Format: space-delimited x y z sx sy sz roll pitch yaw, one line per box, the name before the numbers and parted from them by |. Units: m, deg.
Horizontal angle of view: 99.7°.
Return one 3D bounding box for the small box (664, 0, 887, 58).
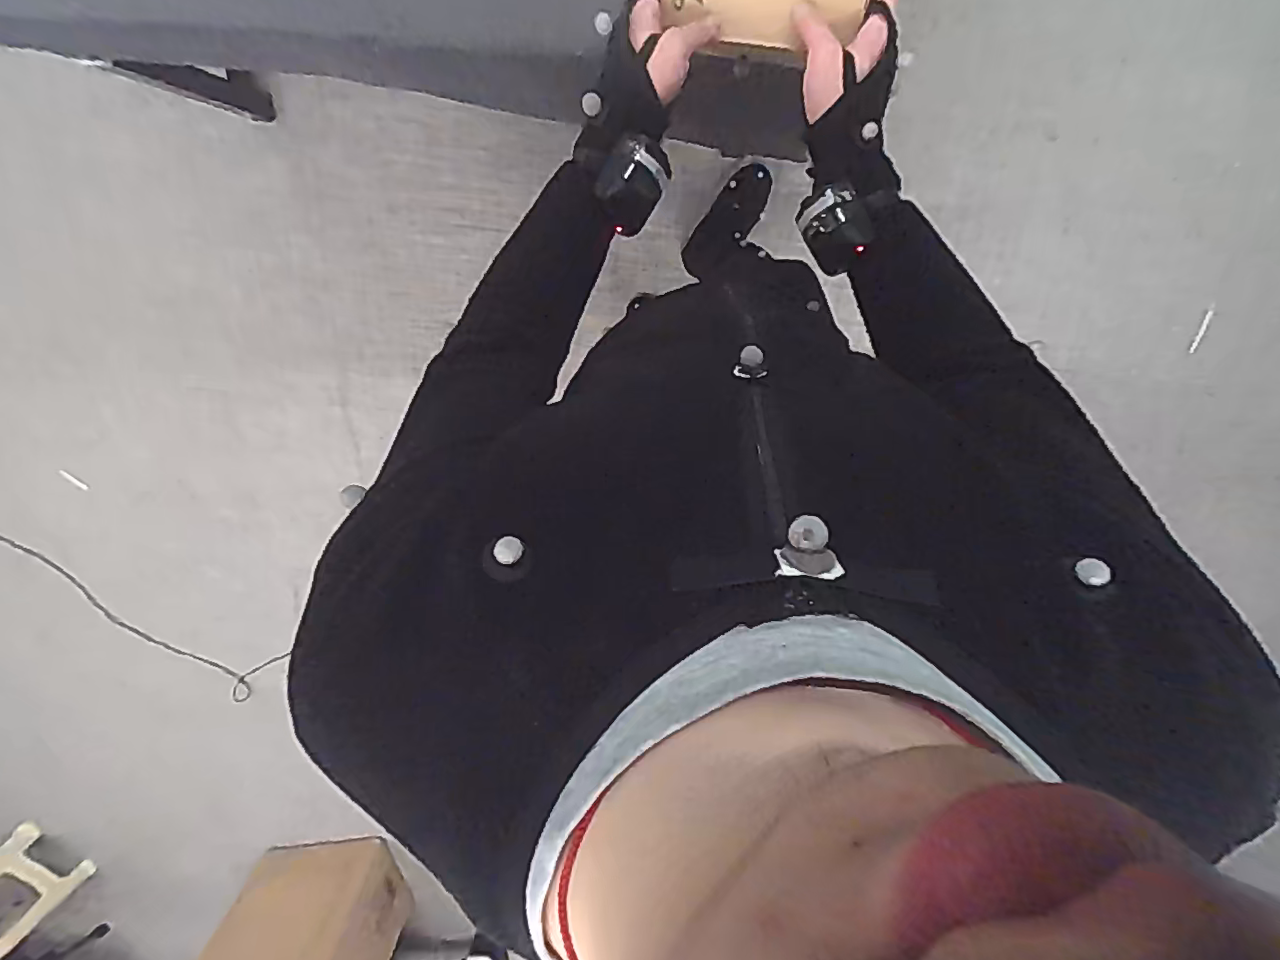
small box | 0.118 -0.478 0.462 0.179 0.176 0.168 6 124 -2
